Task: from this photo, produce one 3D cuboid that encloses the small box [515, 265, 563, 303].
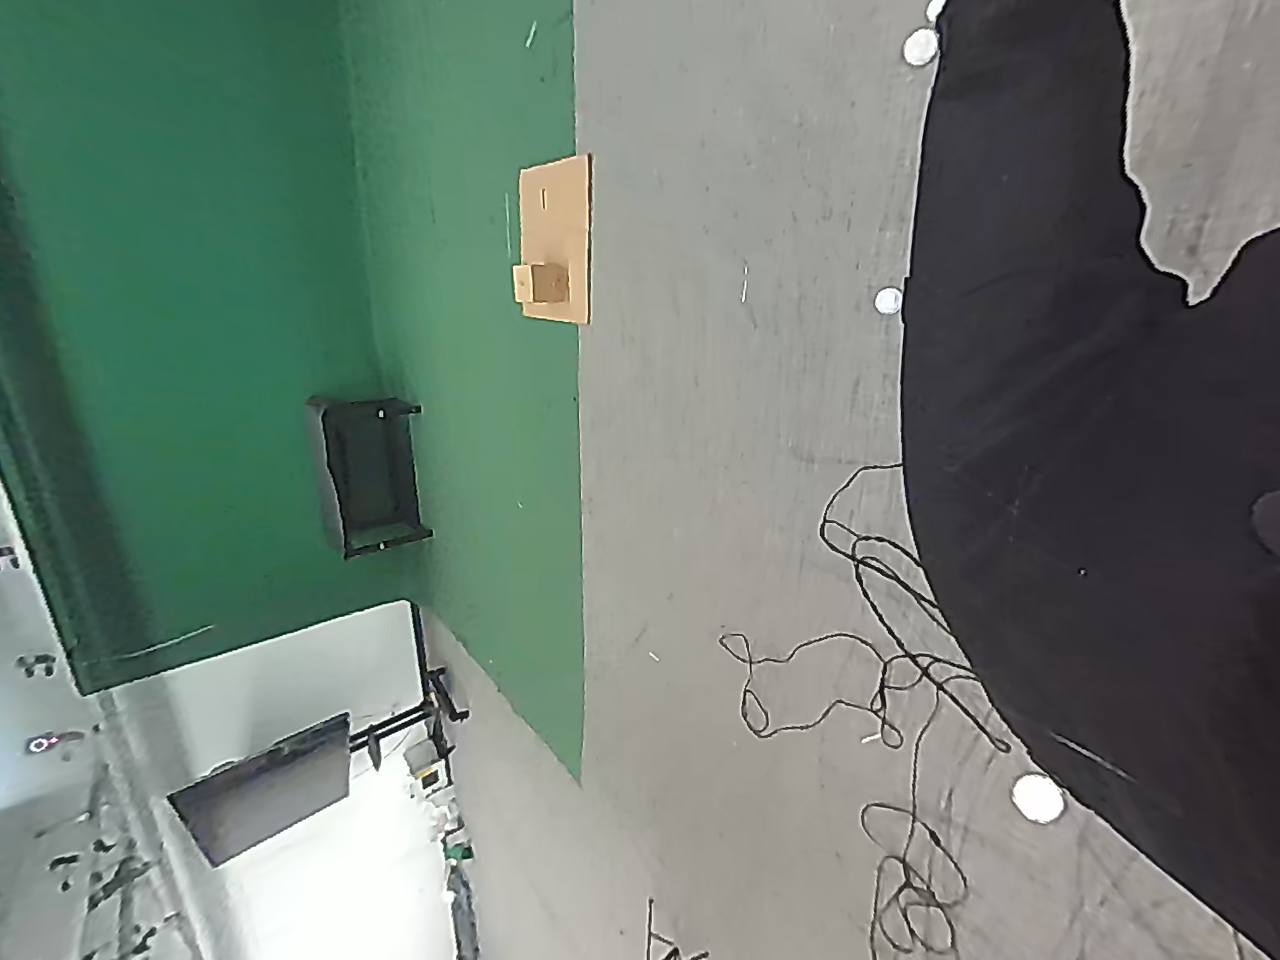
[{"bbox_3d":[-0.484,-0.943,2.597,0.179,0.176,0.168,22,119,46],"label":"small box"}]
